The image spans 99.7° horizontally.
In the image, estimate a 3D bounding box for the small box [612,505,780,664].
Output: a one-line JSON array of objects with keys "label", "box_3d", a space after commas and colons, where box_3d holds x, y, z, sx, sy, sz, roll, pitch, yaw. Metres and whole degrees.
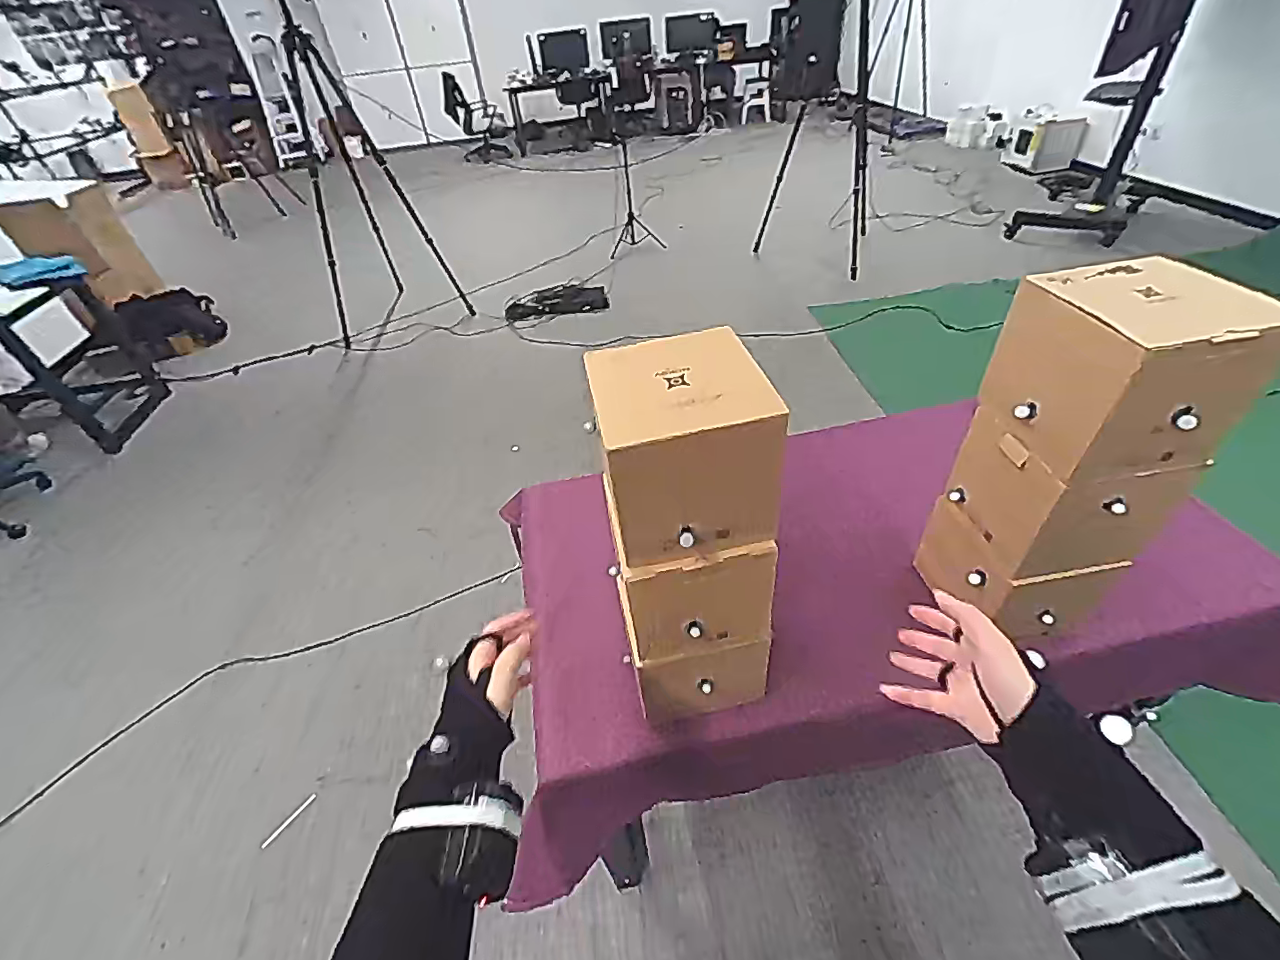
[{"label": "small box", "box_3d": [0.059, 0.098, 0.678, 0.168, 0.176, 0.179, -11, 43, -5]}]

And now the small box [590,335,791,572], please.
[{"label": "small box", "box_3d": [0.045, -0.030, 0.578, 0.168, 0.176, 0.179, -11, 43, -4]}]

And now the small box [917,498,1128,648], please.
[{"label": "small box", "box_3d": [0.555, 0.135, 0.816, 0.168, 0.176, 0.179, -9, 42, -3]}]

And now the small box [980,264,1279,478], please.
[{"label": "small box", "box_3d": [0.530, -0.117, 0.606, 0.168, 0.176, 0.179, -9, 43, -3]}]

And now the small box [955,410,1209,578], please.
[{"label": "small box", "box_3d": [0.548, 0.010, 0.709, 0.179, 0.176, 0.168, -8, 42, -3]}]
